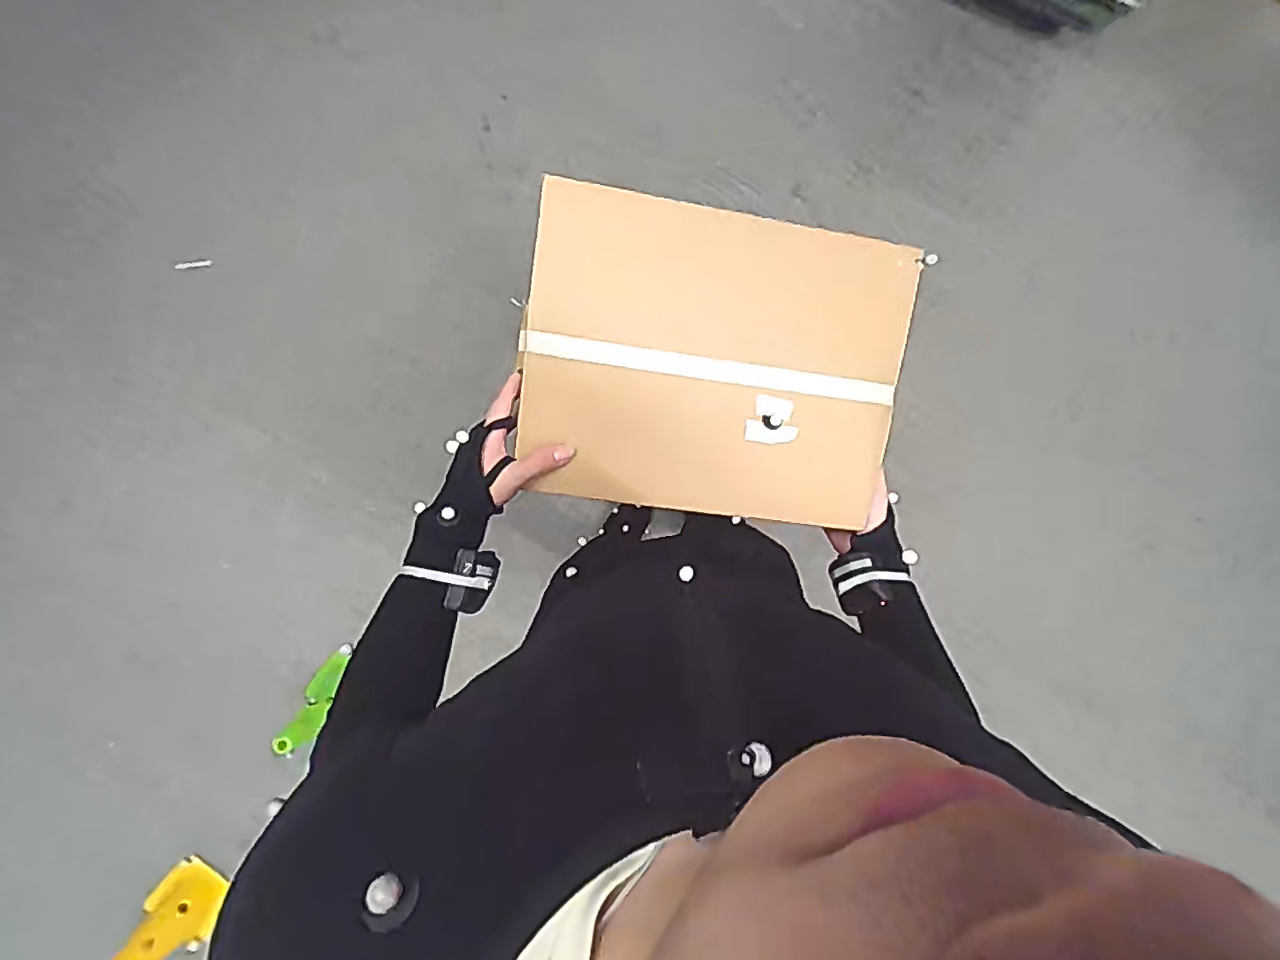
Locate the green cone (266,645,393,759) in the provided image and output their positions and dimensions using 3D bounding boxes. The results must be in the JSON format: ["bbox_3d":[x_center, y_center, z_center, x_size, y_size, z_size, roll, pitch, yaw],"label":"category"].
[{"bbox_3d":[-0.842,0.610,1.407,0.200,0.368,0.202,38,89,-3],"label":"green cone"}]

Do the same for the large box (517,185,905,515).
[{"bbox_3d":[0.057,-0.149,0.726,0.408,0.320,0.320,6,100,-9],"label":"large box"}]
